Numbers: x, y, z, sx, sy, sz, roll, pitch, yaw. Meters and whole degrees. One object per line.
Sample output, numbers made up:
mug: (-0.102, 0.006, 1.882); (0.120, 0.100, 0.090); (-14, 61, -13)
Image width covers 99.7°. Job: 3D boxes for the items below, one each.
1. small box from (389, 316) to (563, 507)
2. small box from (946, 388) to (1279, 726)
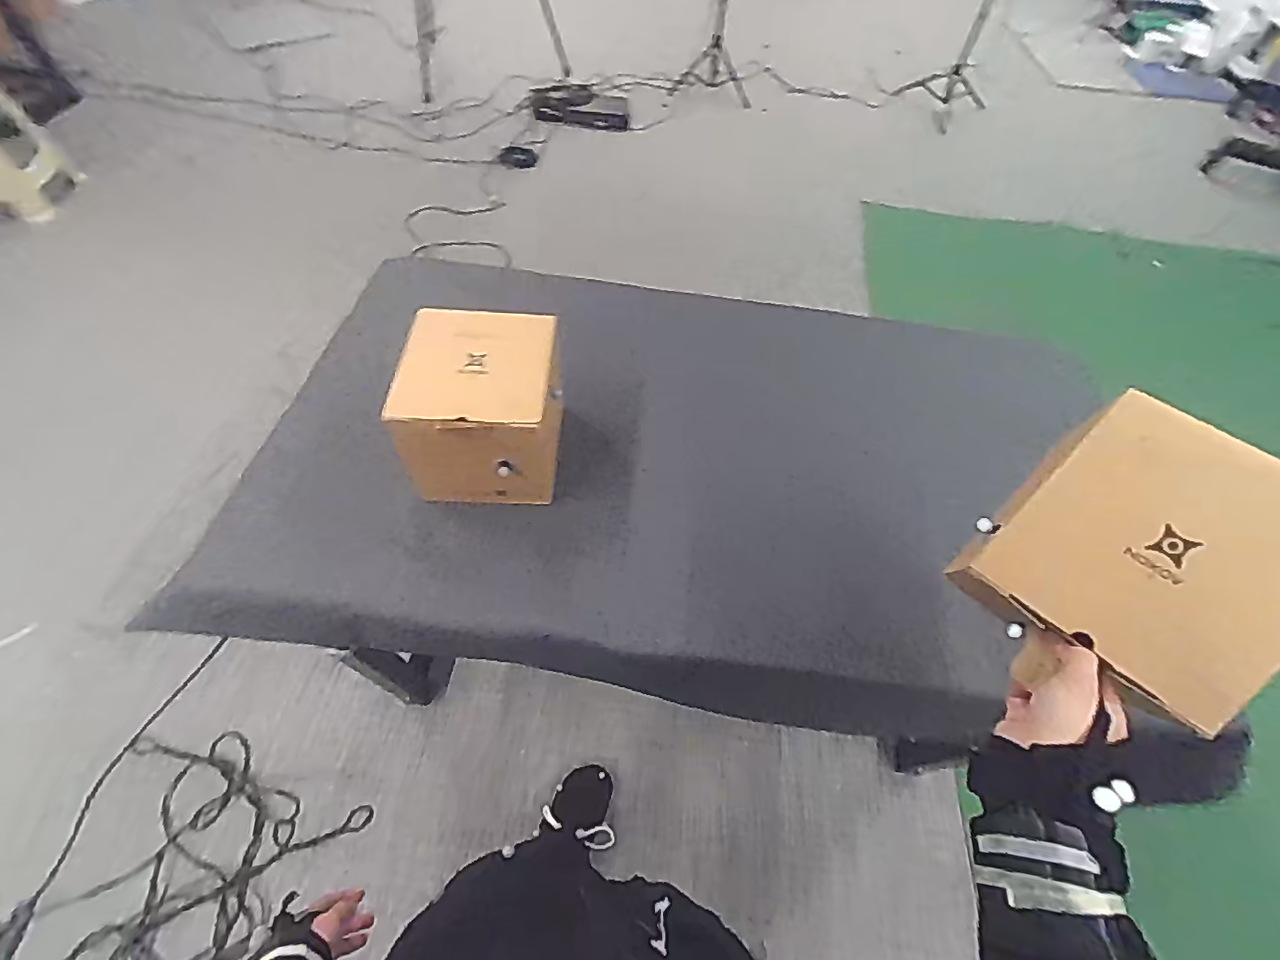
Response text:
small box: (-0.187, -0.080, 0.680); (0.168, 0.176, 0.179); (3, 55, -4)
small box: (0.384, 0.060, 0.446); (0.168, 0.176, 0.179); (40, 96, 24)
